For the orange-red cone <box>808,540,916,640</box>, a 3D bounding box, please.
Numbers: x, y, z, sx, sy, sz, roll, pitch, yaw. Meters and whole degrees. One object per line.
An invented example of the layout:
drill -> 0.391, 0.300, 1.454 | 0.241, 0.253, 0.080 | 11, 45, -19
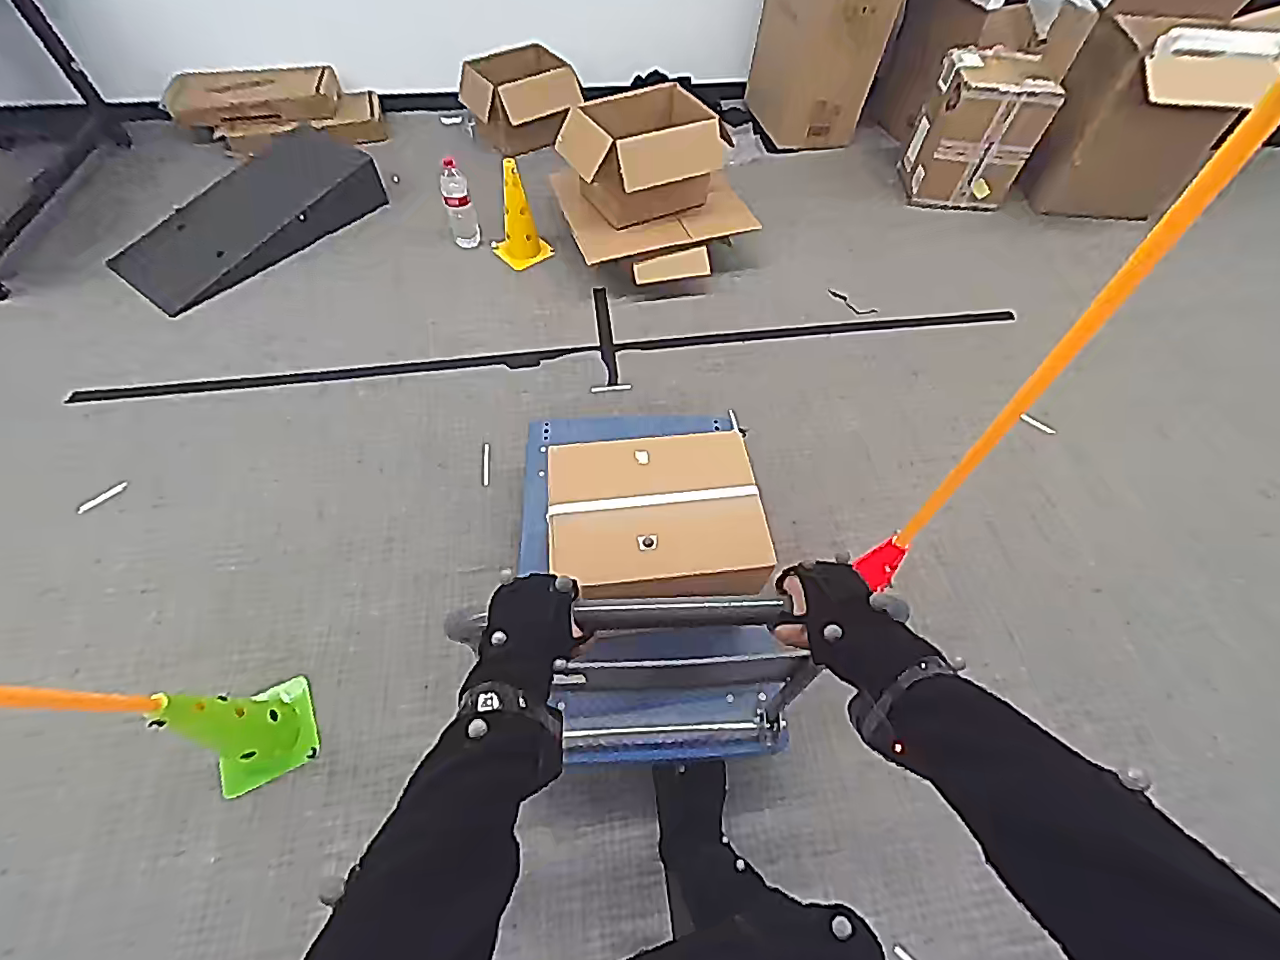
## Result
orange-red cone -> 0.561, 0.235, 1.291 | 0.199, 0.360, 0.198 | 0, 58, -3
